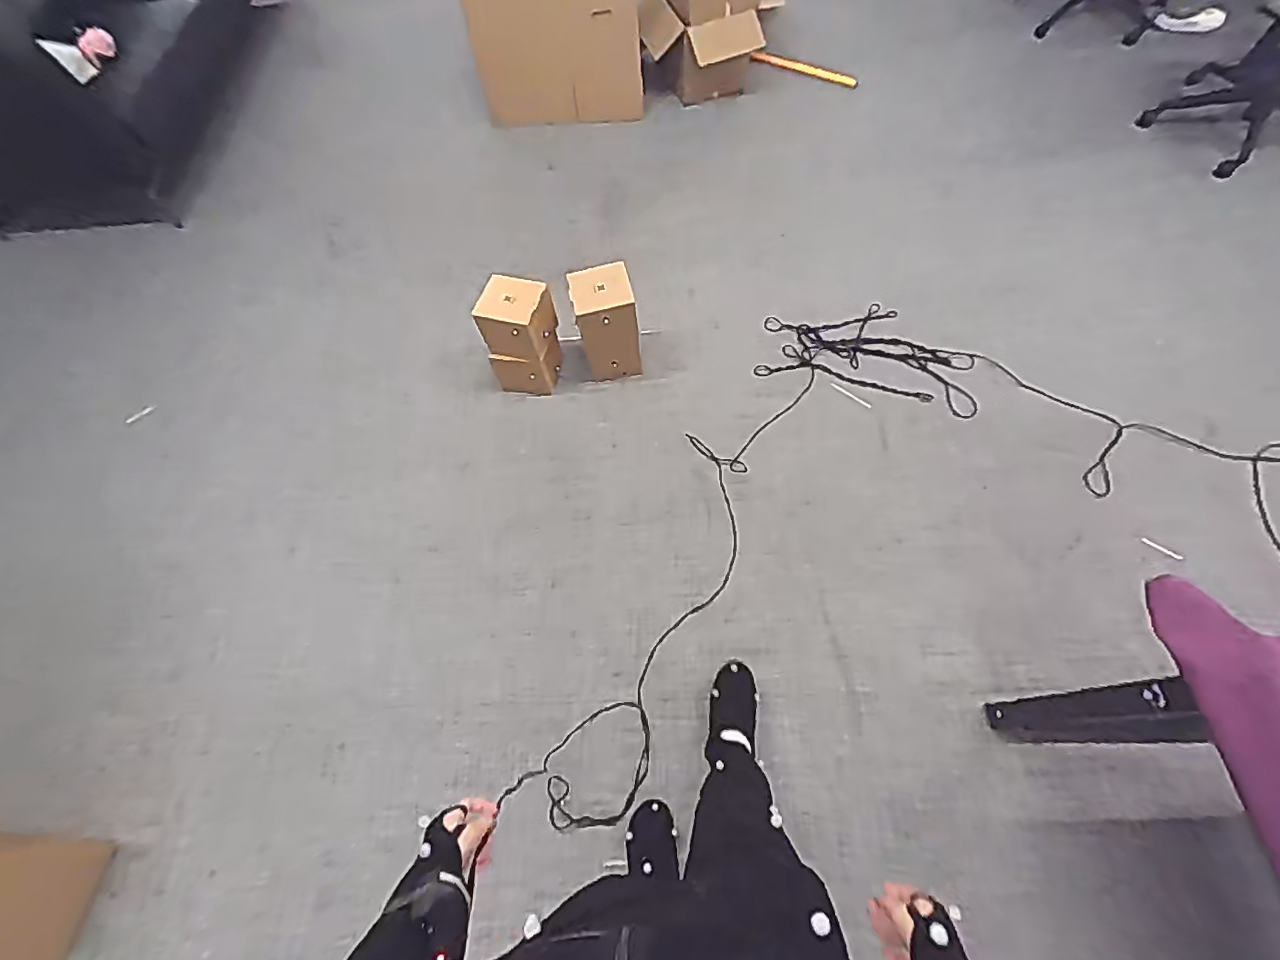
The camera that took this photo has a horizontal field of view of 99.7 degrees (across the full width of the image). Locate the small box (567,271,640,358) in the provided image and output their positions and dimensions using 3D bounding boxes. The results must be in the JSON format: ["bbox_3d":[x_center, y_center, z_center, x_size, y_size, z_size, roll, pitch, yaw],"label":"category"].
[{"bbox_3d":[-0.105,-0.488,1.617,0.179,0.176,0.168,-13,63,-1],"label":"small box"}]

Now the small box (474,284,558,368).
[{"bbox_3d":[-0.366,-0.459,1.630,0.179,0.176,0.168,13,64,10],"label":"small box"}]

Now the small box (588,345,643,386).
[{"bbox_3d":[-0.085,-0.426,1.767,0.168,0.176,0.179,-9,62,1],"label":"small box"}]
